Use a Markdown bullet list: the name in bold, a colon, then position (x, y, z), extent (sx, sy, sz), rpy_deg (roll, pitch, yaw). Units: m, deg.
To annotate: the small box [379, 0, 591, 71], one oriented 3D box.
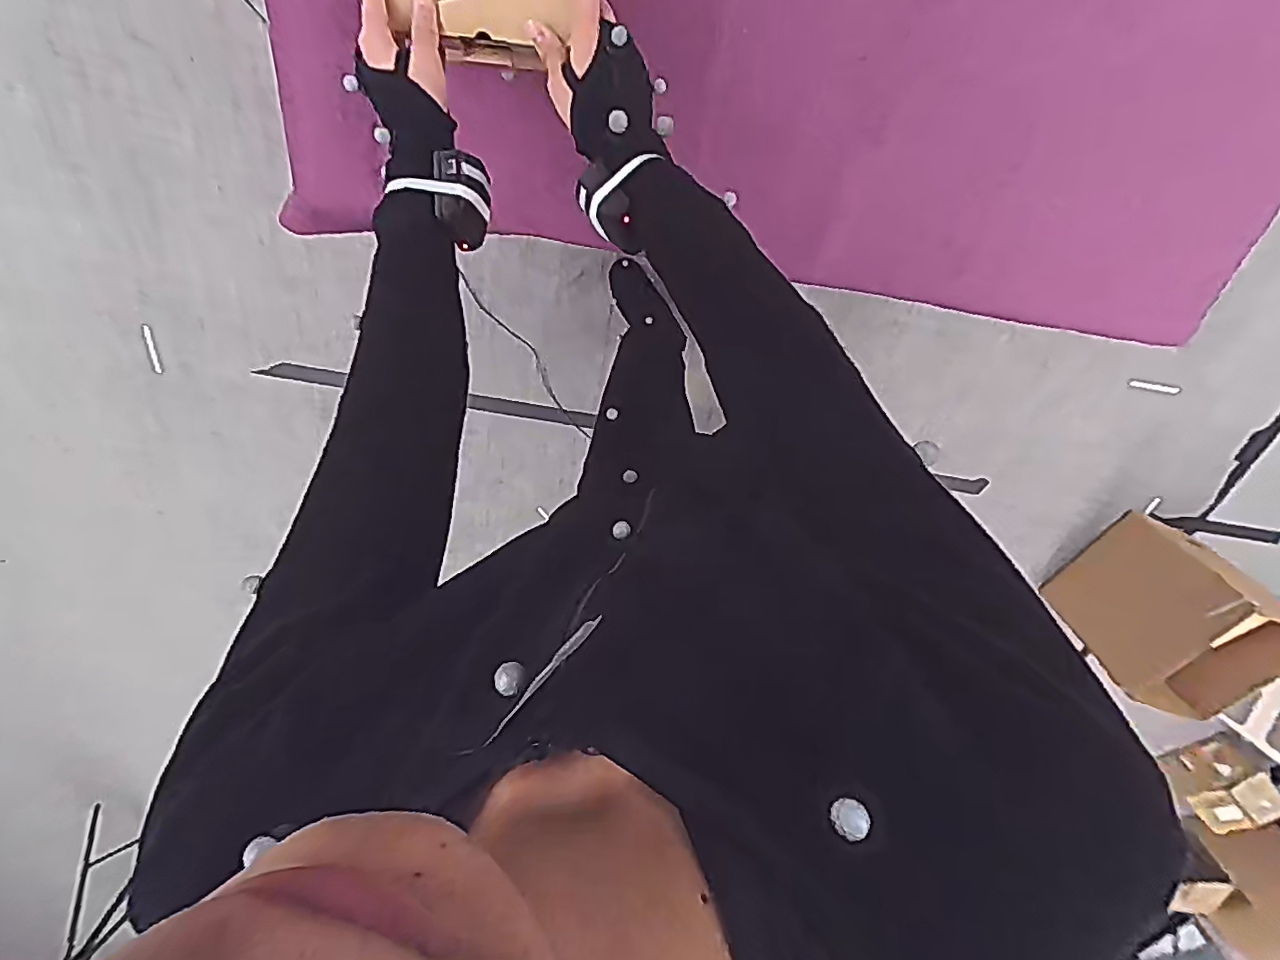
- **small box**: position (-0.131, -0.497, 0.490), extent (0.168, 0.176, 0.179), rpy_deg (5, 122, -2)
